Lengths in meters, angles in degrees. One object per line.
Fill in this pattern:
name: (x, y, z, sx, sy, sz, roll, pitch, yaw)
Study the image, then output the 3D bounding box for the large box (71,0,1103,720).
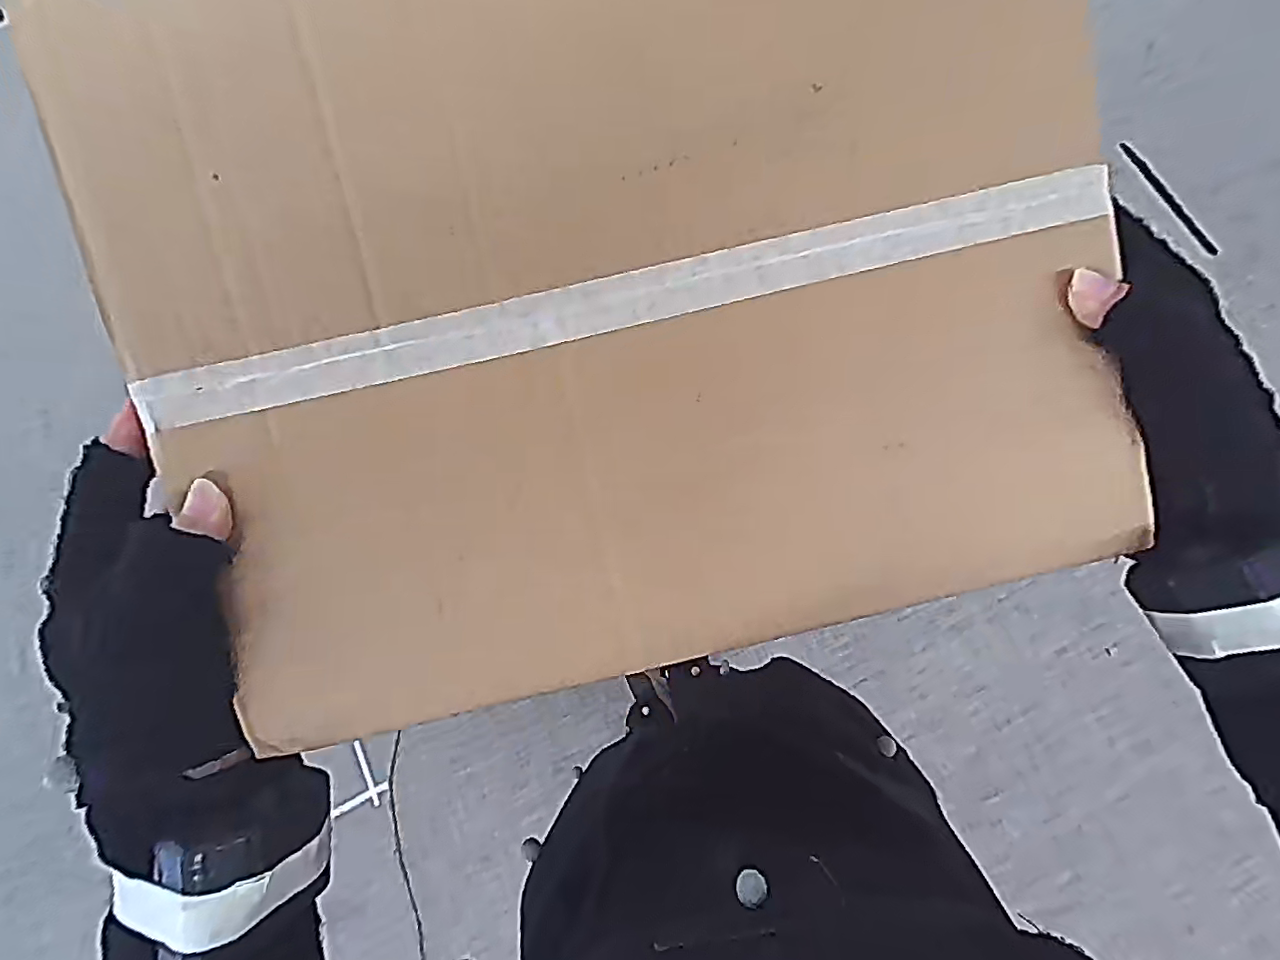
large box: (-0.007, -0.098, 0.383, 0.408, 0.320, 0.320, -12, 96, -2)
